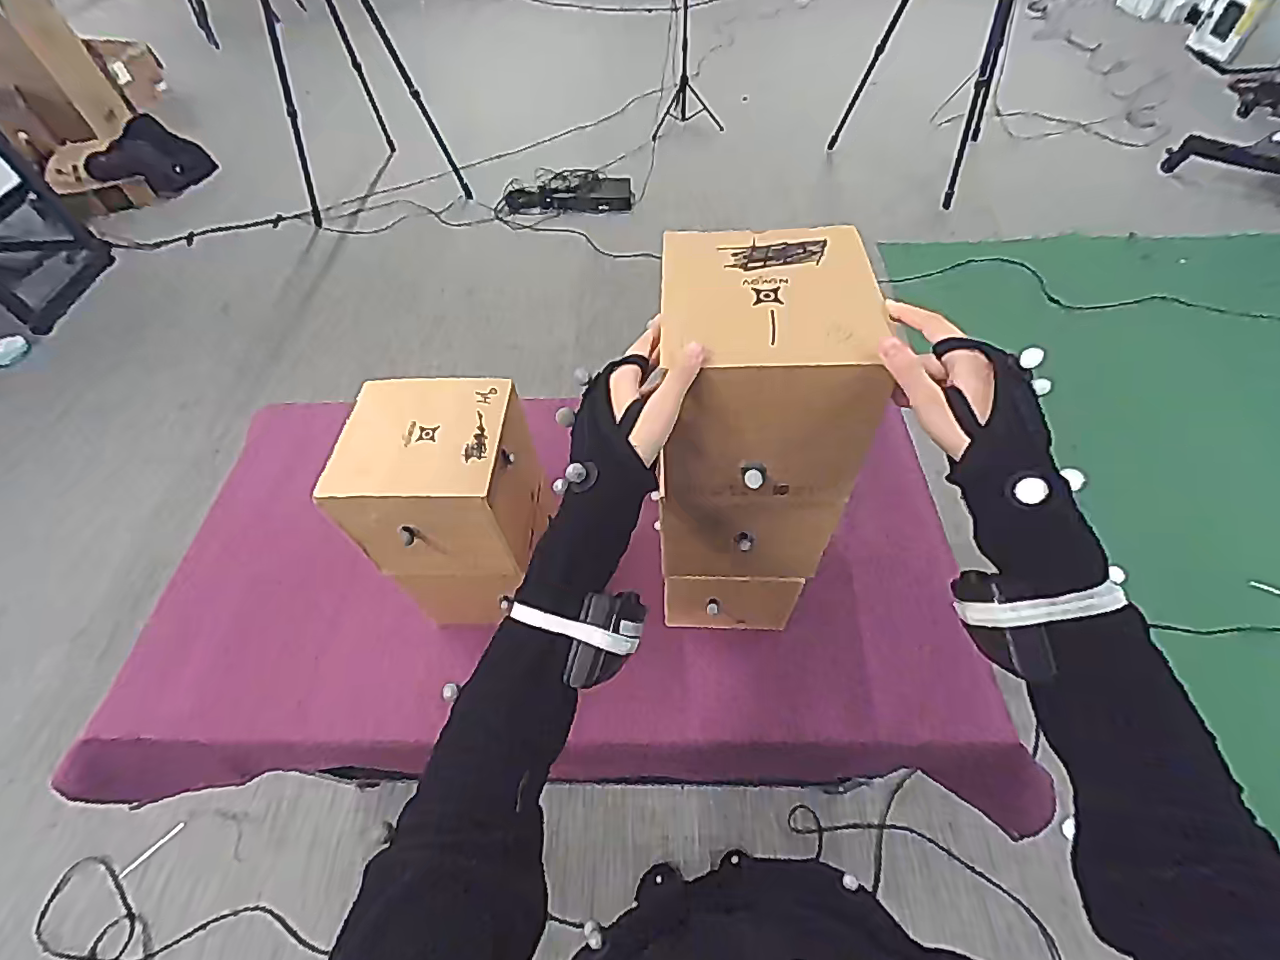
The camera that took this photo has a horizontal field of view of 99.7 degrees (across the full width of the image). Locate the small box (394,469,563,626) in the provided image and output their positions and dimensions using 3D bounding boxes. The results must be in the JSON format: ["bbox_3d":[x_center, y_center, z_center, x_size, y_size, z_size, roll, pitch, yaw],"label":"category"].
[{"bbox_3d":[-0.212,0.099,0.770,0.179,0.176,0.168,-1,53,3],"label":"small box"}]

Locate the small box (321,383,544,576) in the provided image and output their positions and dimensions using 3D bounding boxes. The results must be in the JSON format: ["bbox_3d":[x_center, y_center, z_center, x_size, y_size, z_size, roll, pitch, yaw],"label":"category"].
[{"bbox_3d":[-0.223,0.003,0.638,0.179,0.176,0.168,0,53,2],"label":"small box"}]

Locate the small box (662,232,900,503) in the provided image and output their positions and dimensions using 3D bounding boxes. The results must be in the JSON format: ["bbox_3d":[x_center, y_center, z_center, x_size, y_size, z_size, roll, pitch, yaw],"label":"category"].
[{"bbox_3d":[0.104,-0.098,0.487,0.168,0.176,0.179,-1,53,4],"label":"small box"}]

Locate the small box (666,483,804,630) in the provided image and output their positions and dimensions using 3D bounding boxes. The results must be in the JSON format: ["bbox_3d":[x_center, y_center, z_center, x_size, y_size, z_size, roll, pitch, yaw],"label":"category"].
[{"bbox_3d":[0.123,0.097,0.752,0.168,0.176,0.179,0,53,4],"label":"small box"}]
